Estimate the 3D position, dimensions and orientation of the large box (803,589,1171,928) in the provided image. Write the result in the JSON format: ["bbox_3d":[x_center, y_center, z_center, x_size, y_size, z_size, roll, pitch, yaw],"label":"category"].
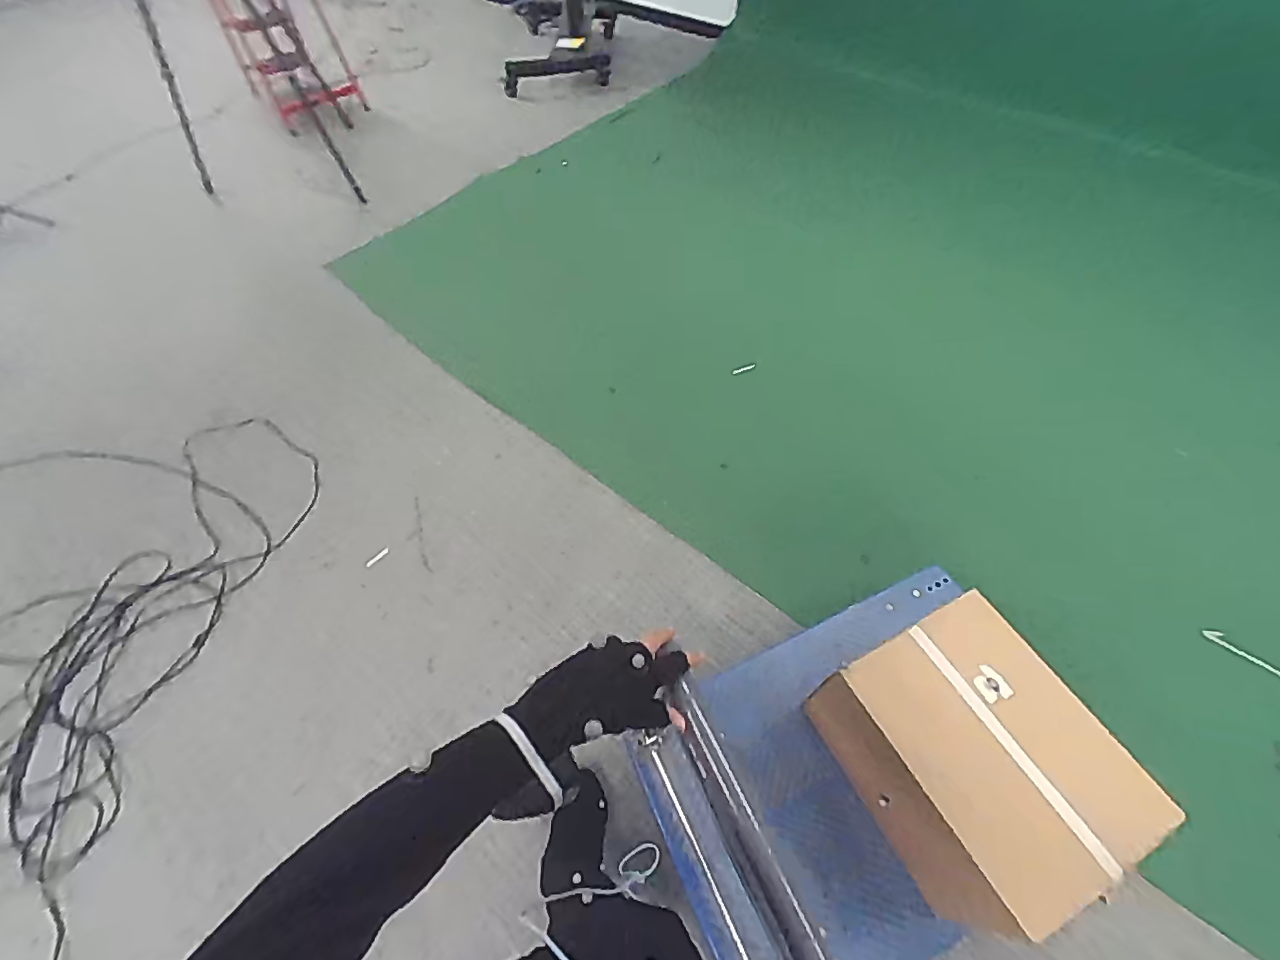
[{"bbox_3d":[0.568,0.485,0.984,0.320,0.320,0.408,-25,58,-14],"label":"large box"}]
